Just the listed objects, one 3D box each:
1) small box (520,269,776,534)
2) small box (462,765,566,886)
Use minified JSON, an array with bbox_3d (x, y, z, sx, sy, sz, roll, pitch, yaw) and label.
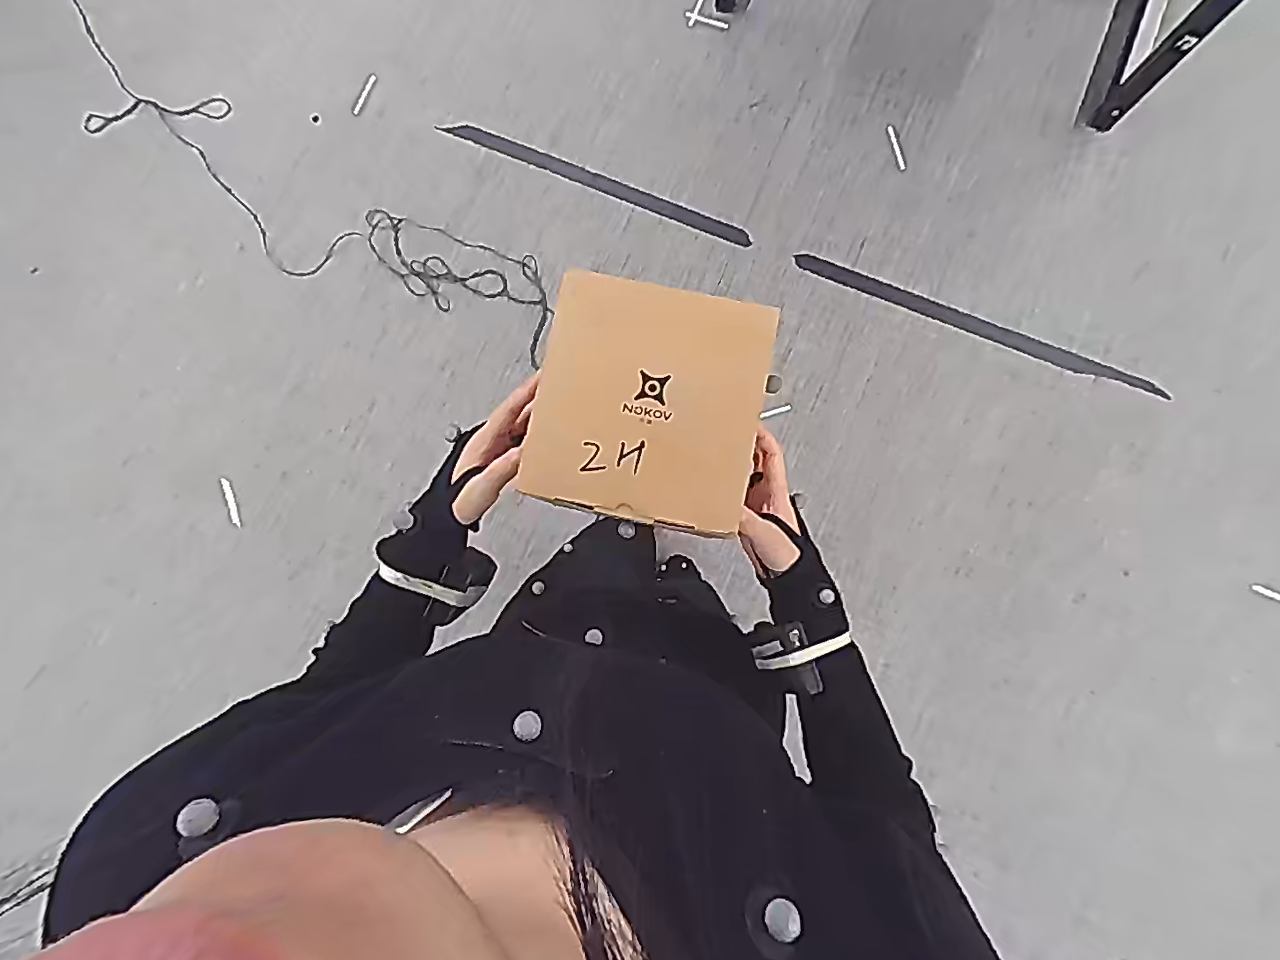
[{"bbox_3d":[0.008,-0.054,0.482,0.168,0.176,0.179,12,84,2],"label":"small box"},{"bbox_3d":[-0.309,0.857,1.366,0.179,0.176,0.168,28,86,6],"label":"small box"}]
